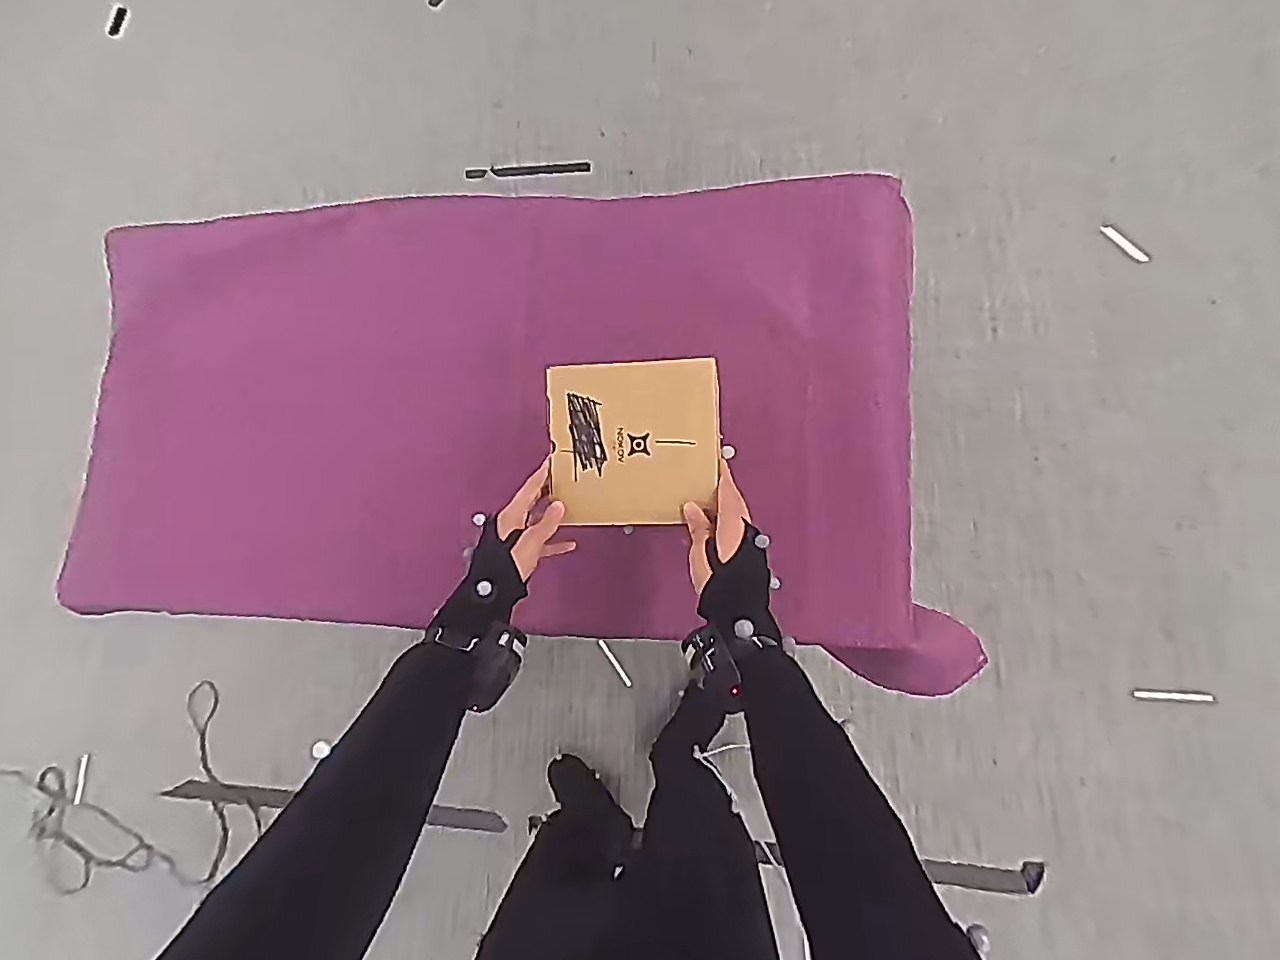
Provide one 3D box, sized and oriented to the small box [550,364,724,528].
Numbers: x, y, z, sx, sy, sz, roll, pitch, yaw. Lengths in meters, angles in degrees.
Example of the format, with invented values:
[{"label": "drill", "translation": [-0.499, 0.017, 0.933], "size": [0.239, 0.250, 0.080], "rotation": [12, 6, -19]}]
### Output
[{"label": "small box", "translation": [0.006, -0.032, 0.625], "size": [0.179, 0.176, 0.168], "rotation": [-1, 90, 9]}]
